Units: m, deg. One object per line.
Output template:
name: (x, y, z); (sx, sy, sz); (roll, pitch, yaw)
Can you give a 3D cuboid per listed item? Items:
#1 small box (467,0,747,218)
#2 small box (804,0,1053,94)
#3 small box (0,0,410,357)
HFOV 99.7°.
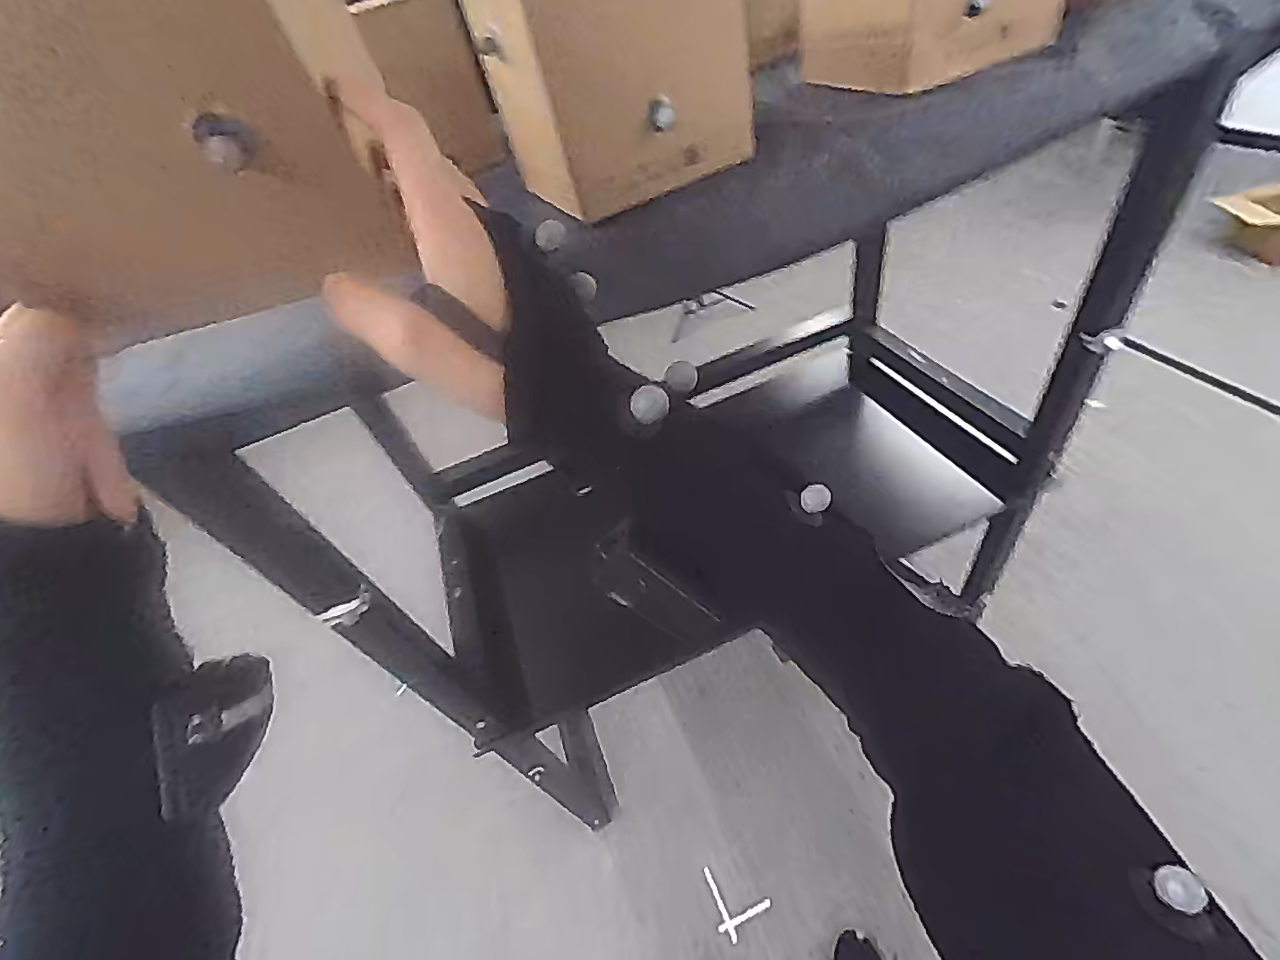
small box: (-0.027, -0.345, 0.460); (0.168, 0.176, 0.179); (-28, 44, -10)
small box: (0.270, -0.494, 0.517); (0.168, 0.176, 0.179); (-24, 44, -6)
small box: (-0.220, -0.182, 0.237); (0.179, 0.176, 0.168); (-17, 71, -5)
